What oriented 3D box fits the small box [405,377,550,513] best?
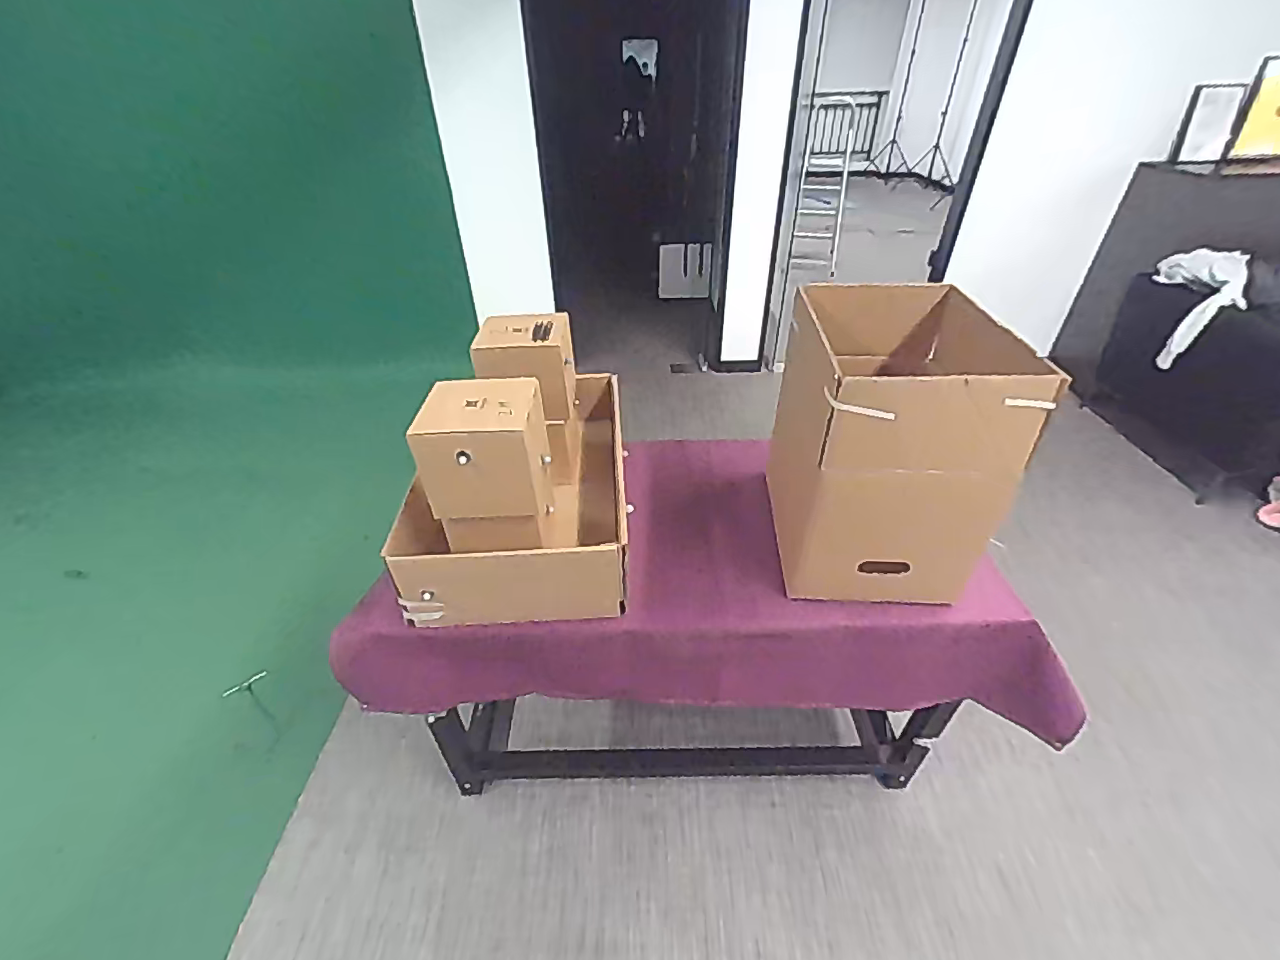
[{"bbox_3d":[-0.255,-0.056,0.900,0.179,0.176,0.168,-1,39,1],"label":"small box"}]

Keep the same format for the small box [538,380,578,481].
[{"bbox_3d":[-0.236,-0.110,1.235,0.168,0.176,0.179,-2,39,1],"label":"small box"}]
